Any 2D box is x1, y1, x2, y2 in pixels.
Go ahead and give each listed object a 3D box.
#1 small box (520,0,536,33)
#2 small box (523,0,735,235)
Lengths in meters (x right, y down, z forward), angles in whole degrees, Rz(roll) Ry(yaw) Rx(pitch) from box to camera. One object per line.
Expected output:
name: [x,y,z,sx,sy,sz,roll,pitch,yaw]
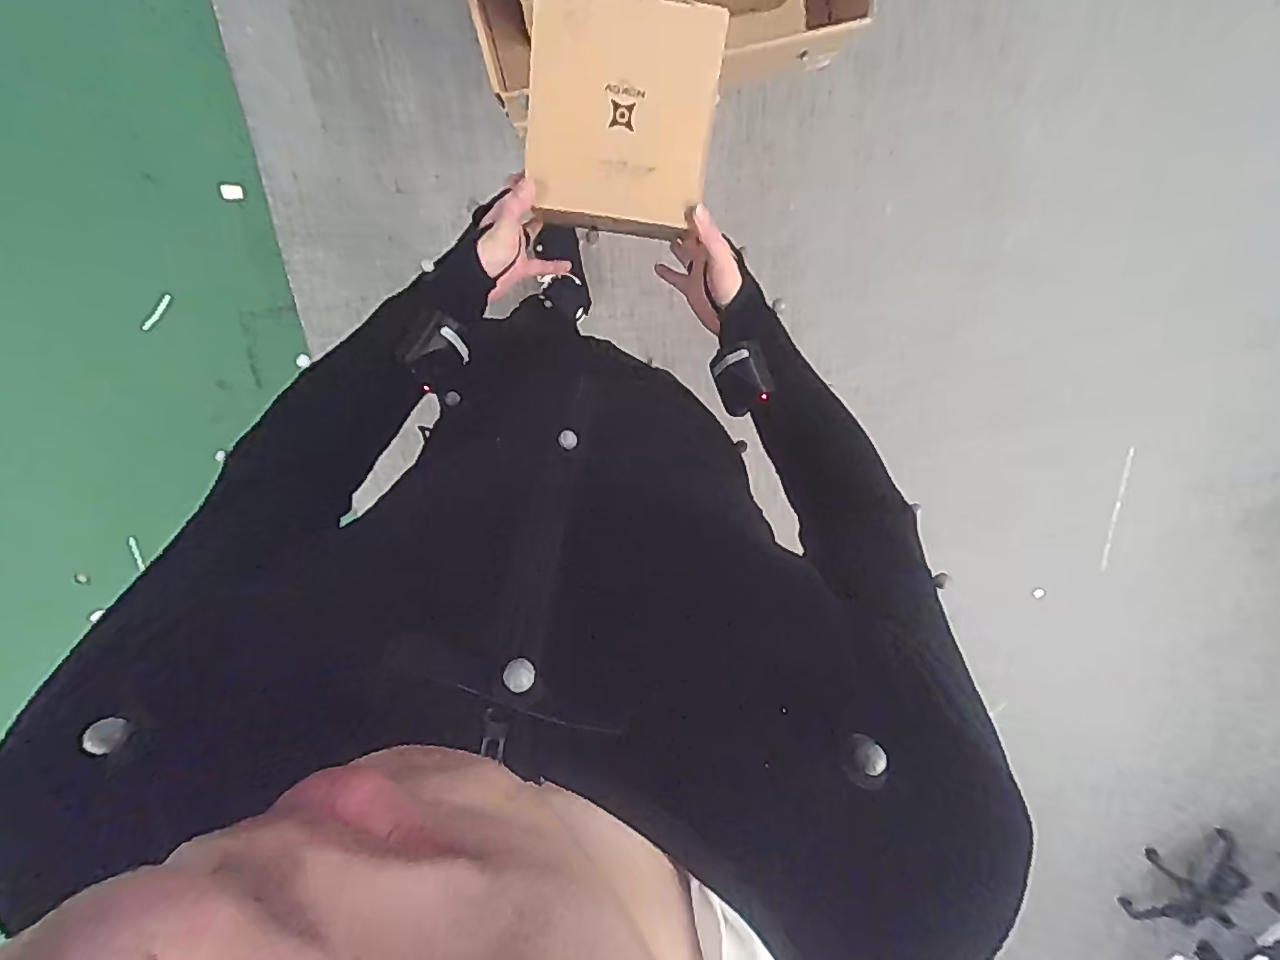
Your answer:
small box: [-0.110,-0.799,0.809,0.168,0.176,0.179,-12,112,-1]
small box: [-0.020,-0.355,0.537,0.168,0.176,0.179,6,110,-7]
